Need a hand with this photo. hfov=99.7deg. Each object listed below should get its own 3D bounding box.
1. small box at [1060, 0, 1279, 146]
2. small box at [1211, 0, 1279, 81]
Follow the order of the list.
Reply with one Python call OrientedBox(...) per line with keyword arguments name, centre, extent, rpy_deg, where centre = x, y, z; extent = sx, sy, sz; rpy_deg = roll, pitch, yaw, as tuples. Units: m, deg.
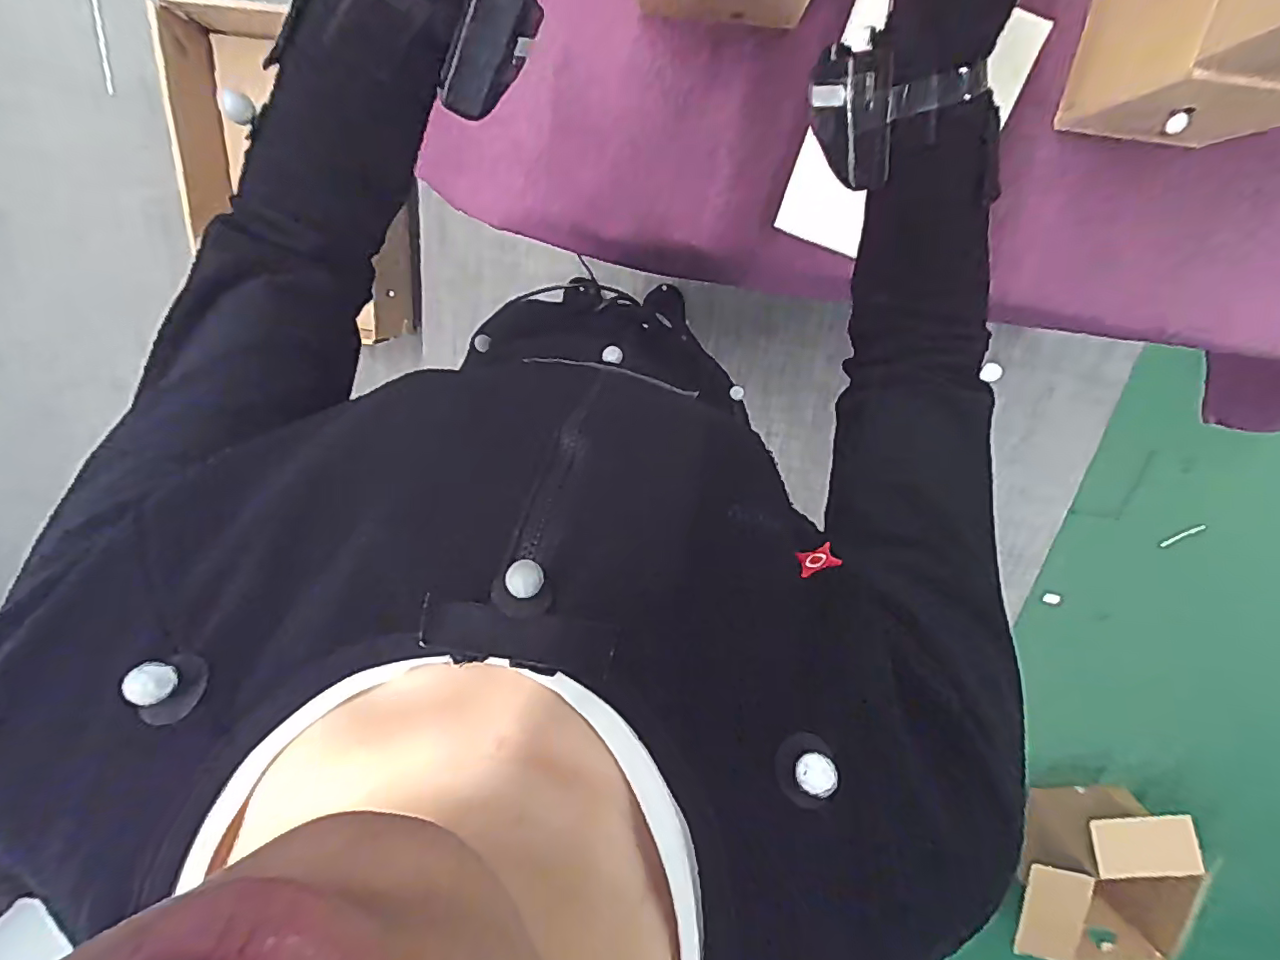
OrientedBox(name="small box", centre=(0.532, -0.423, 0.485), extent=(0.168, 0.176, 0.179), rpy_deg=(7, 110, -1))
OrientedBox(name="small box", centre=(0.531, -0.371, 0.328), extent=(0.168, 0.176, 0.179), rpy_deg=(10, 110, -2))
